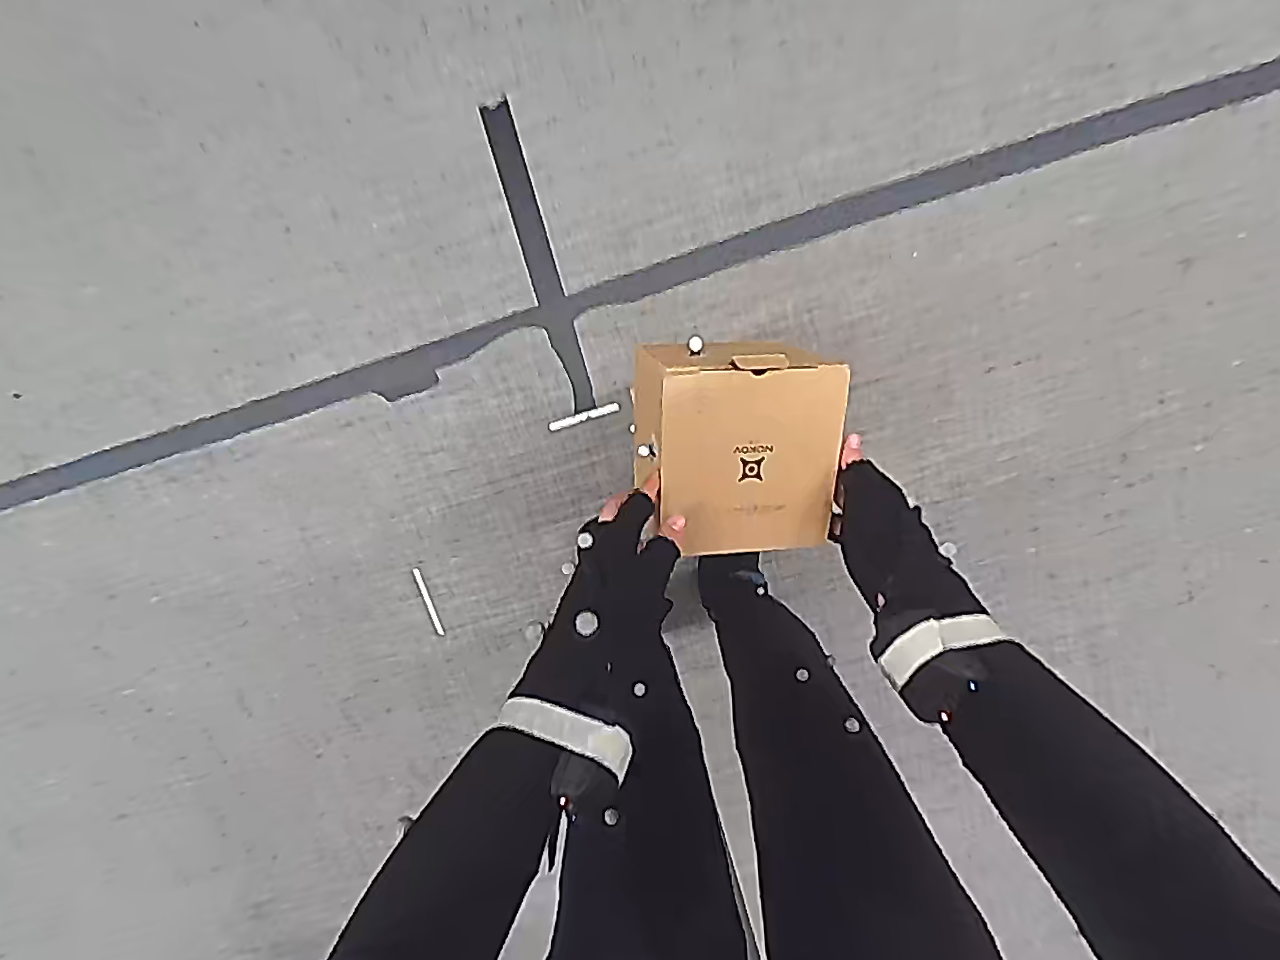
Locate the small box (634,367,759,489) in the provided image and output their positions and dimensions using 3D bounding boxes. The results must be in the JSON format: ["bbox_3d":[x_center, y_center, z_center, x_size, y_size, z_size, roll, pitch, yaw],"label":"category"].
[{"bbox_3d":[0.090,-0.098,0.933,0.179,0.176,0.168,-12,102,2],"label":"small box"}]
